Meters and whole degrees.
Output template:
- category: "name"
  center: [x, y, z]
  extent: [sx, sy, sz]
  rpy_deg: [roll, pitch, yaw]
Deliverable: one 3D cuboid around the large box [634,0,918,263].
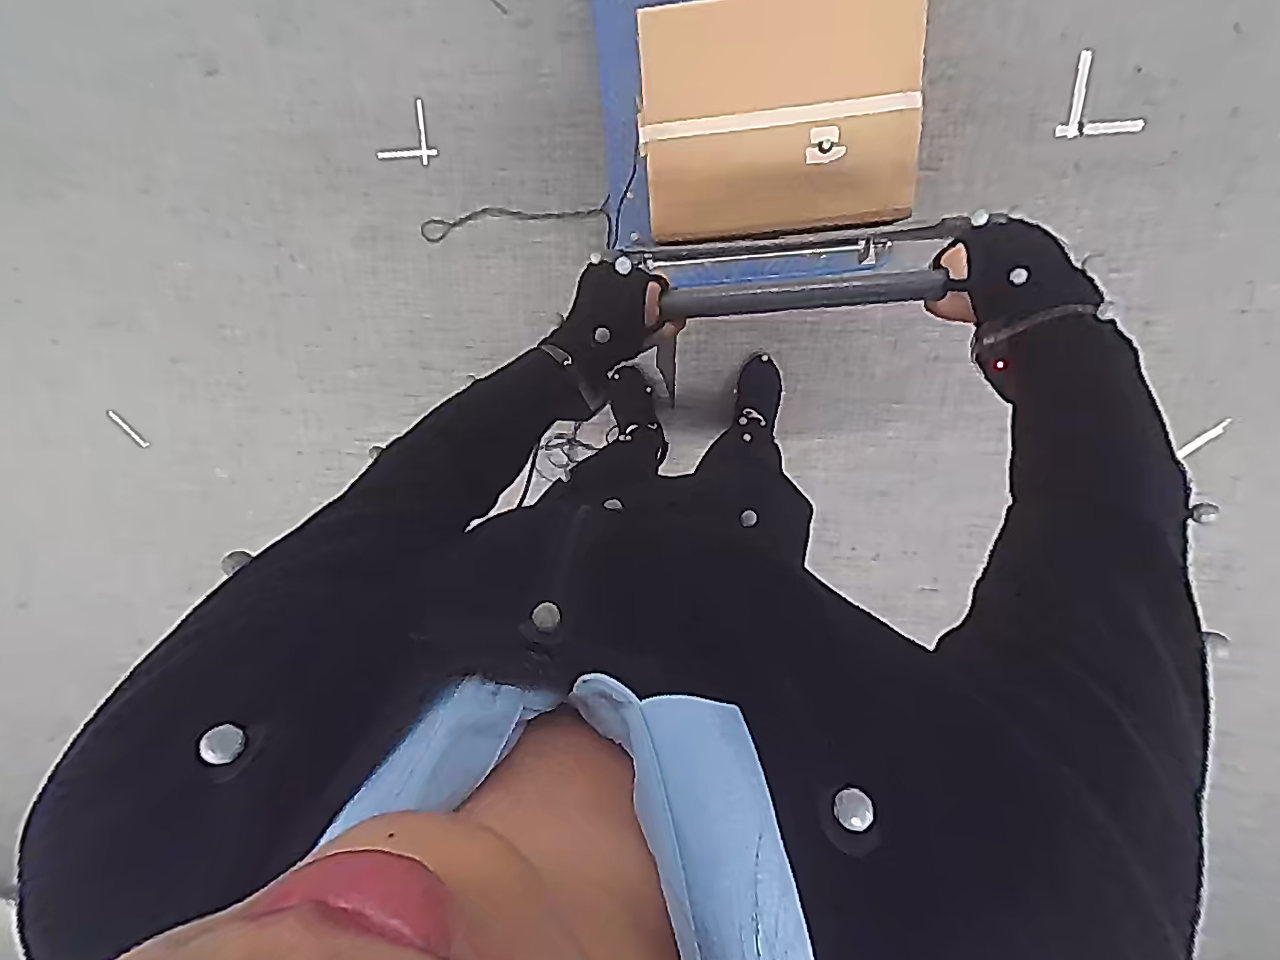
- category: "large box"
  center: [0.211, -0.574, 0.952]
  extent: [0.408, 0.320, 0.320]
  rpy_deg: [-3, 109, 5]
